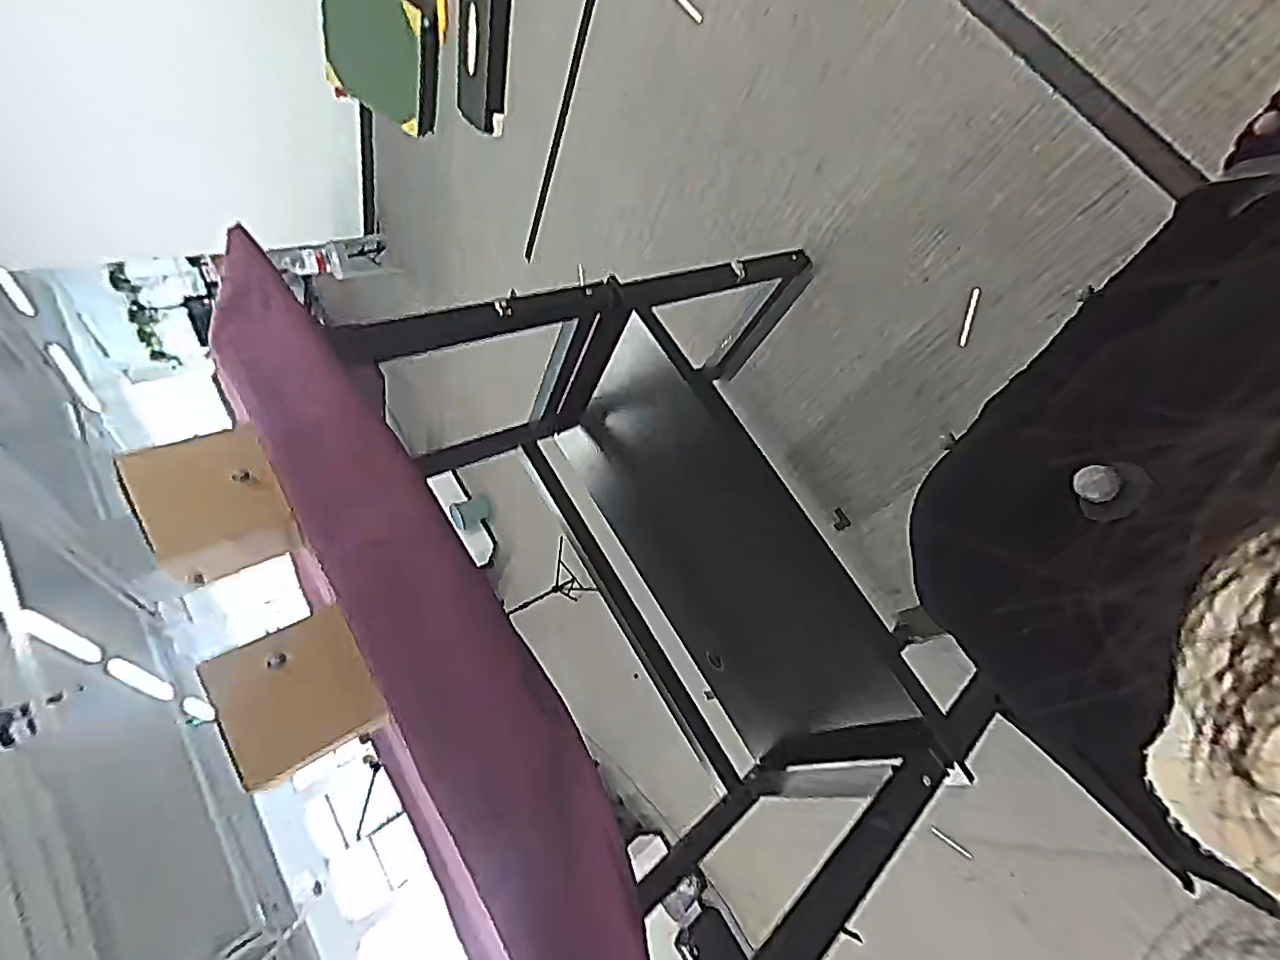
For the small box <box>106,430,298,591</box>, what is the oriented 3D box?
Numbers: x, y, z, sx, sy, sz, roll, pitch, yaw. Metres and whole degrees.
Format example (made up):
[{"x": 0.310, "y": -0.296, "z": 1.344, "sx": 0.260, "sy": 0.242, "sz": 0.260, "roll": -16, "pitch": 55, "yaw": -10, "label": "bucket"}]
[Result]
[{"x": -0.649, "y": 0.040, "z": 0.824, "sx": 0.179, "sy": 0.176, "sz": 0.168, "roll": 60, "pitch": 147, "yaw": 9, "label": "small box"}]

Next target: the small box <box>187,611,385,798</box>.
[{"x": -0.473, "y": 0.299, "z": 0.745, "sx": 0.179, "sy": 0.176, "sz": 0.168, "roll": 58, "pitch": 146, "yaw": 11, "label": "small box"}]
